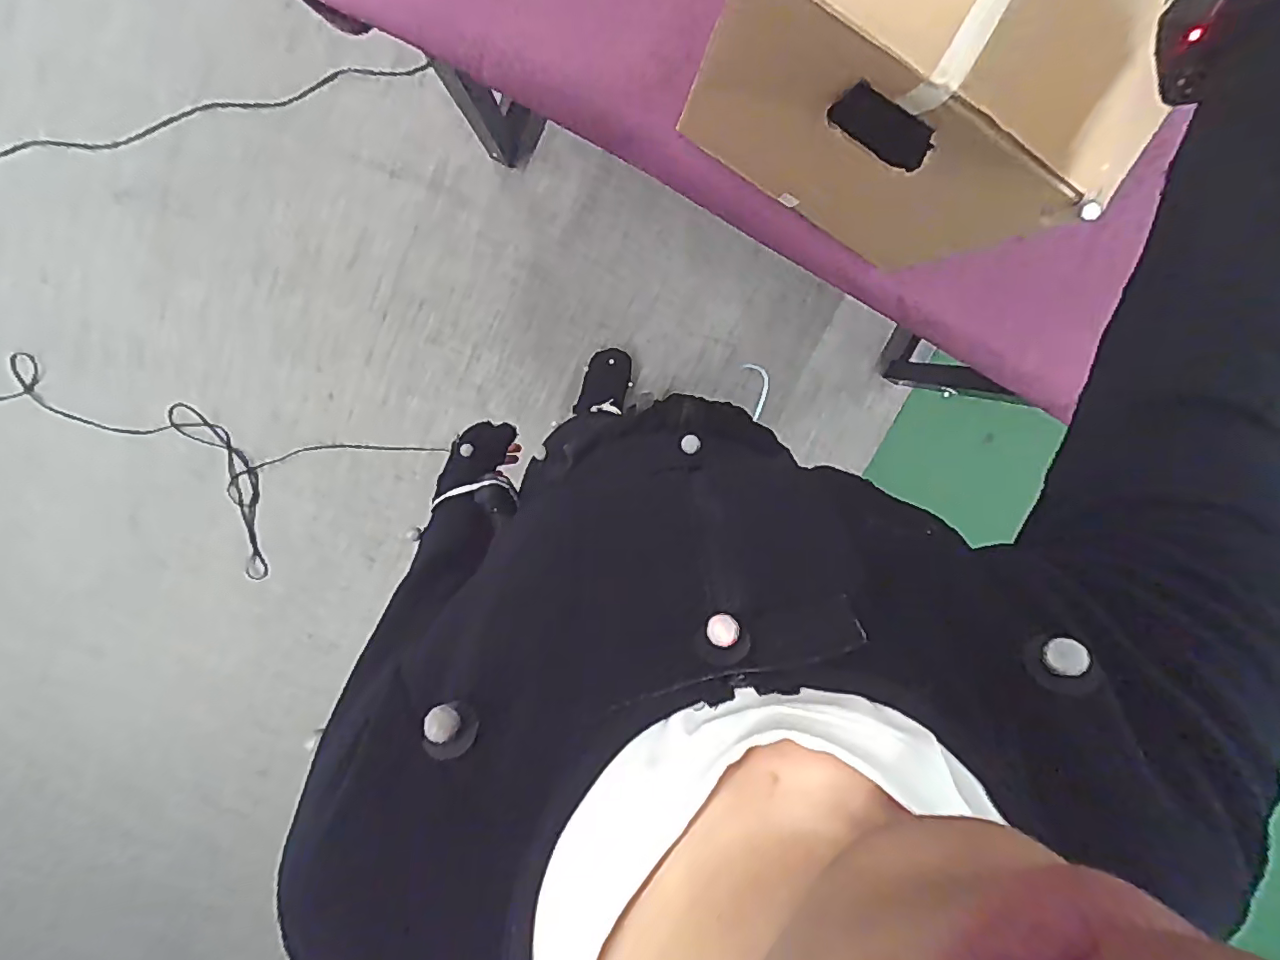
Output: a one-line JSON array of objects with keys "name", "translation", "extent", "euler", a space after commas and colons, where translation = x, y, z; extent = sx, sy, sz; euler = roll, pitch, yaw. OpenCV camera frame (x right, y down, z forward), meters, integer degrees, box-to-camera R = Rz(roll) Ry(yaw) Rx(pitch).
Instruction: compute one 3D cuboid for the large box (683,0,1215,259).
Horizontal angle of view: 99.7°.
[{"name": "large box", "translation": [0.285, -0.481, 0.493], "extent": [0.320, 0.320, 0.408], "euler": [28, 102, -10]}]
